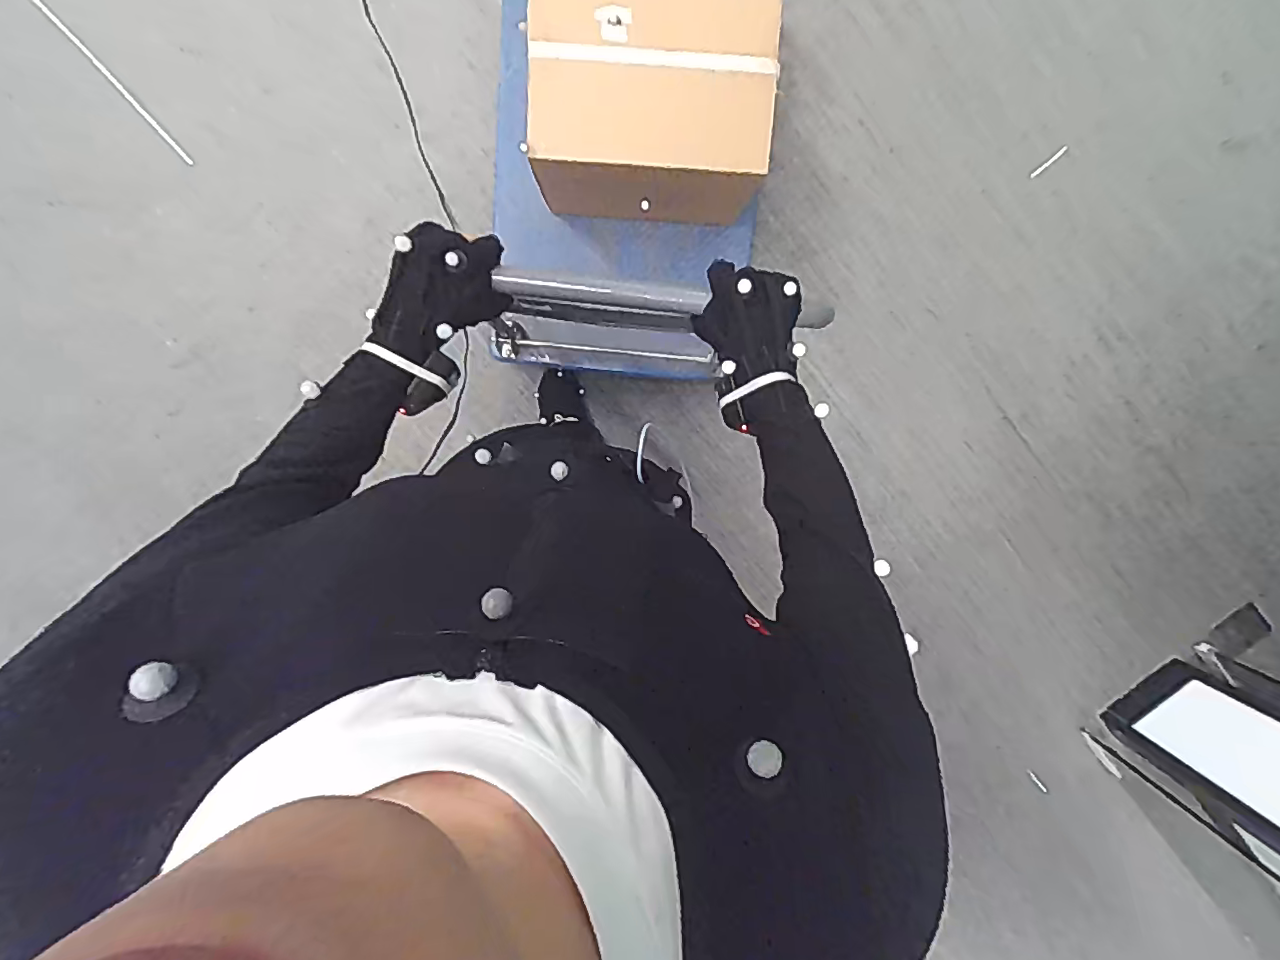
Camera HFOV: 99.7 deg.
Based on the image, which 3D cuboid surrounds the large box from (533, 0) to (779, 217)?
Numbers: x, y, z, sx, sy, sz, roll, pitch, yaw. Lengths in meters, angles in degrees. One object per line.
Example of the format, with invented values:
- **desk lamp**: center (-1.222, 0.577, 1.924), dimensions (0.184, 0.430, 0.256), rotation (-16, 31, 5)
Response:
- **large box**: center (0.022, -0.711, 1.029), dimensions (0.408, 0.320, 0.320), rotation (2, 100, -2)
